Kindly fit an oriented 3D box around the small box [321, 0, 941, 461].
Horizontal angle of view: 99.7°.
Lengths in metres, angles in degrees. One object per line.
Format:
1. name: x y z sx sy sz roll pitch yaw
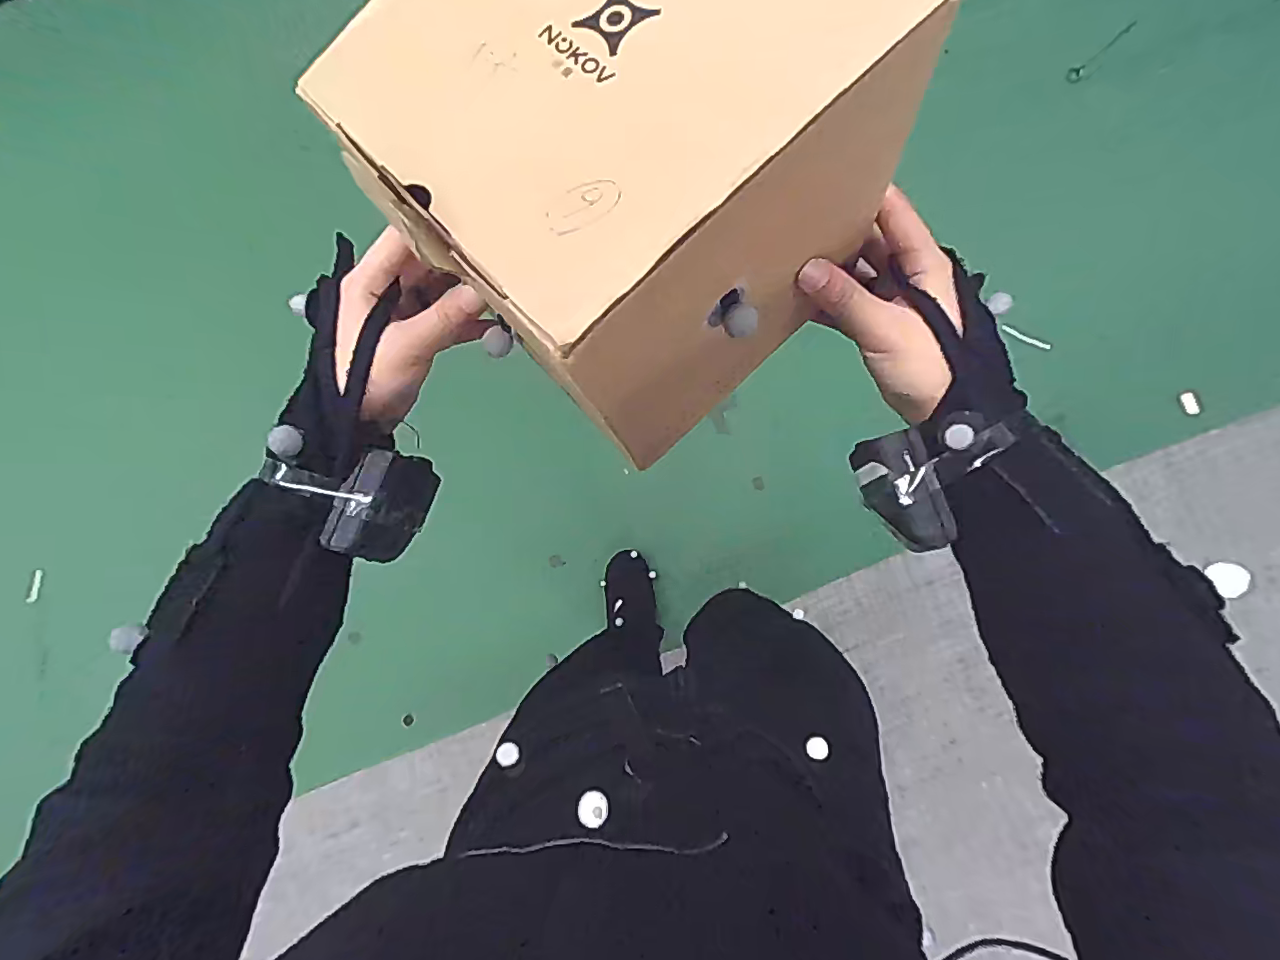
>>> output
1. small box: 0.000 -0.133 0.273 0.179 0.176 0.168 -43 76 0
